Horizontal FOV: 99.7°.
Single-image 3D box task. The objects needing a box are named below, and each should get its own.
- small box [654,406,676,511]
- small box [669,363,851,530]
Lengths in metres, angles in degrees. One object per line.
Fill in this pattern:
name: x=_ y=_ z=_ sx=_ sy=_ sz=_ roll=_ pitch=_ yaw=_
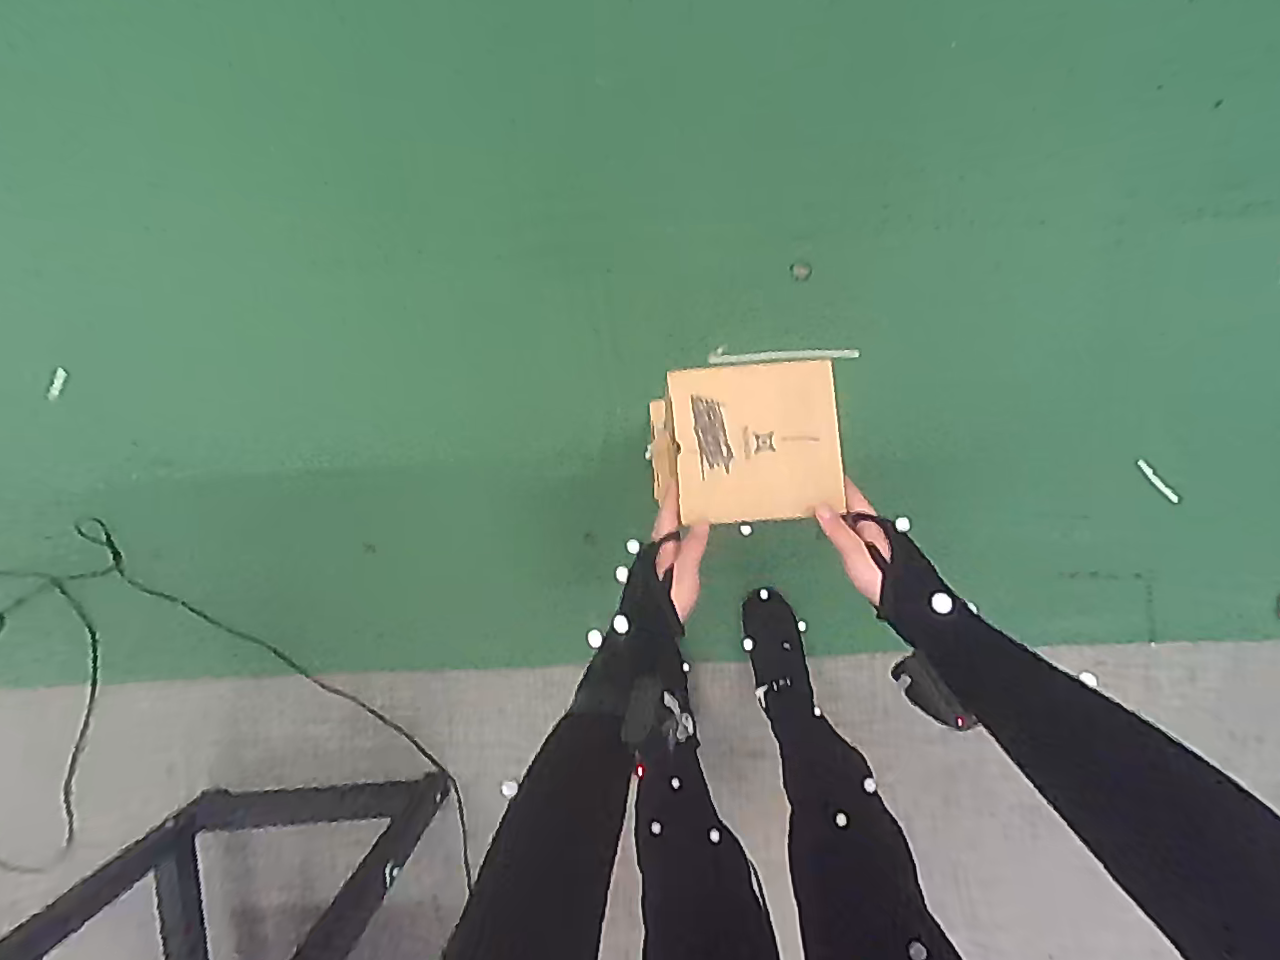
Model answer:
small box: x=0.118 y=-0.043 z=0.921 sx=0.179 sy=0.176 sz=0.168 roll=-6 pitch=92 yaw=4
small box: x=0.127 y=-0.028 z=0.638 sx=0.179 sy=0.176 sz=0.168 roll=-4 pitch=85 yaw=1
